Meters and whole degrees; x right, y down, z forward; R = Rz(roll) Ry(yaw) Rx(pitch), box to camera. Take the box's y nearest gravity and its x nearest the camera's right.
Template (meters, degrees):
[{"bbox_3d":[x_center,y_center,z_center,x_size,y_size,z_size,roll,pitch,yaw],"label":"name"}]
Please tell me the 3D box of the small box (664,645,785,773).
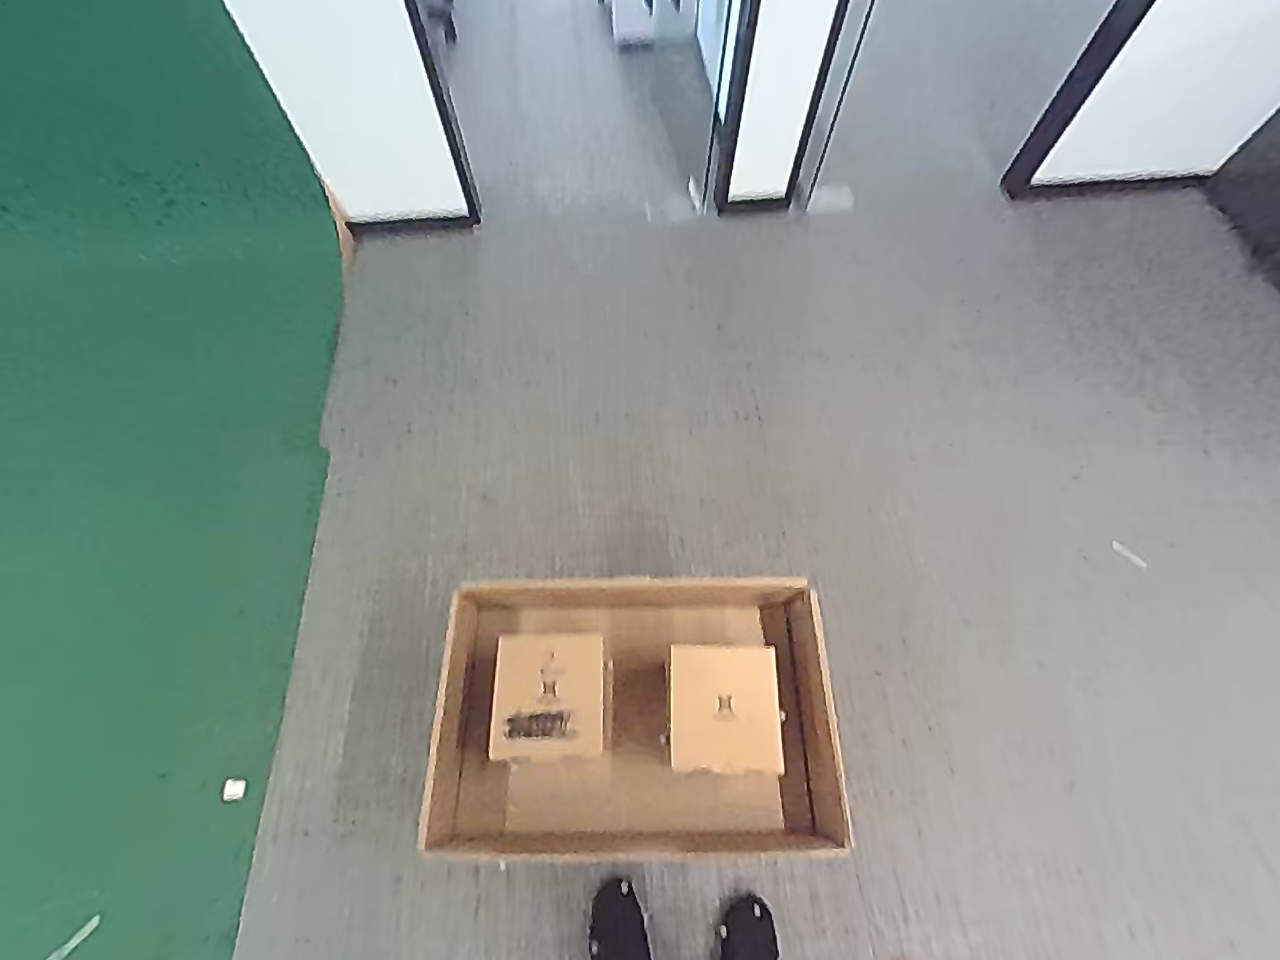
[{"bbox_3d":[0.126,0.371,0.875,0.168,0.176,0.179,1,65,0],"label":"small box"}]
